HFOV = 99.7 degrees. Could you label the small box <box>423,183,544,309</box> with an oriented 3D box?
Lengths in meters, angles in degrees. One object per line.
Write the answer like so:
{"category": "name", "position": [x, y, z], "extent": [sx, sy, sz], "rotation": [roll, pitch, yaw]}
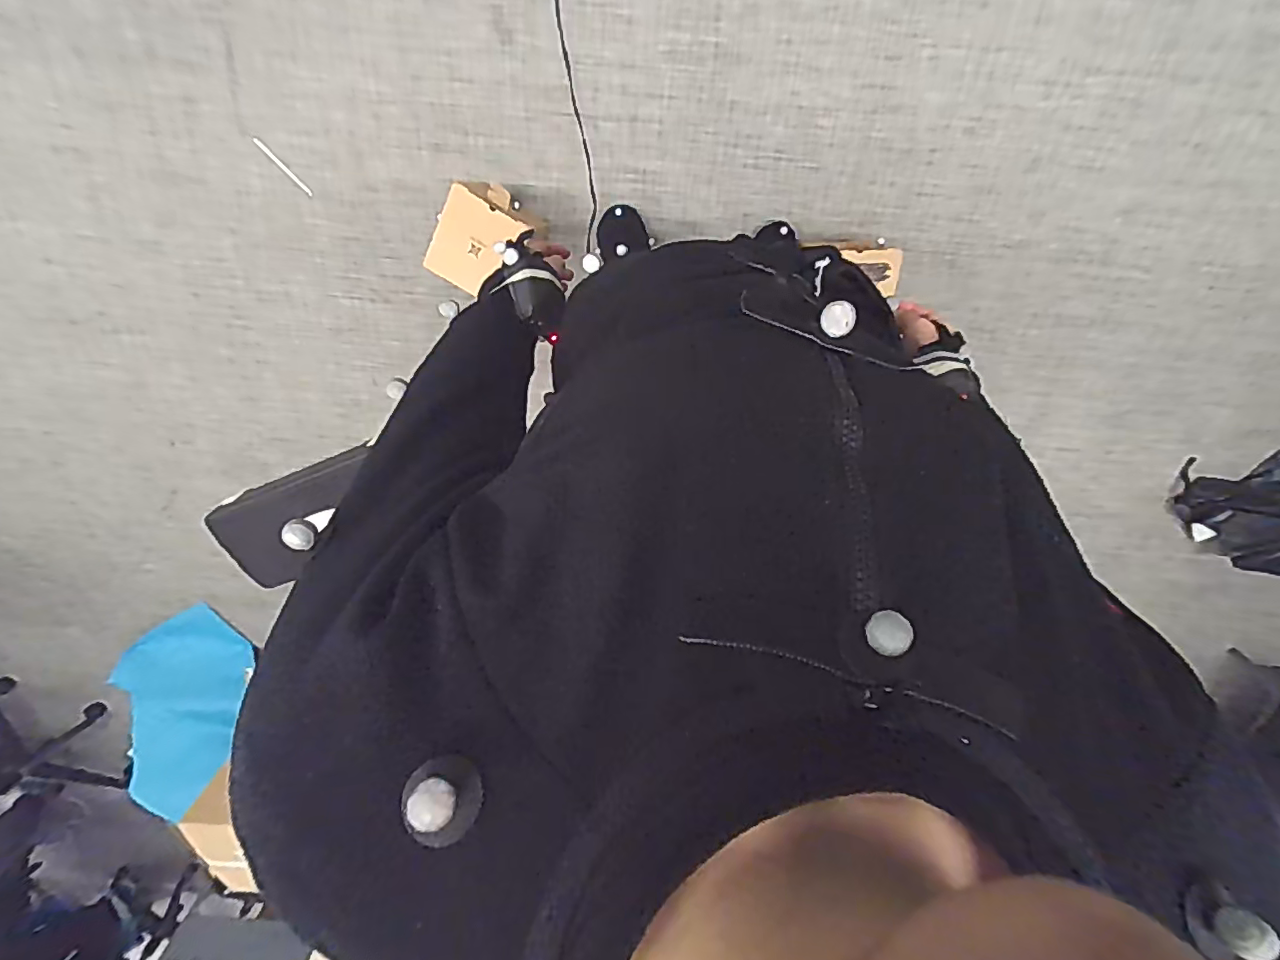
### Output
{"category": "small box", "position": [-0.318, -0.489, 1.131], "extent": [0.168, 0.176, 0.179], "rotation": [29, 115, -11]}
